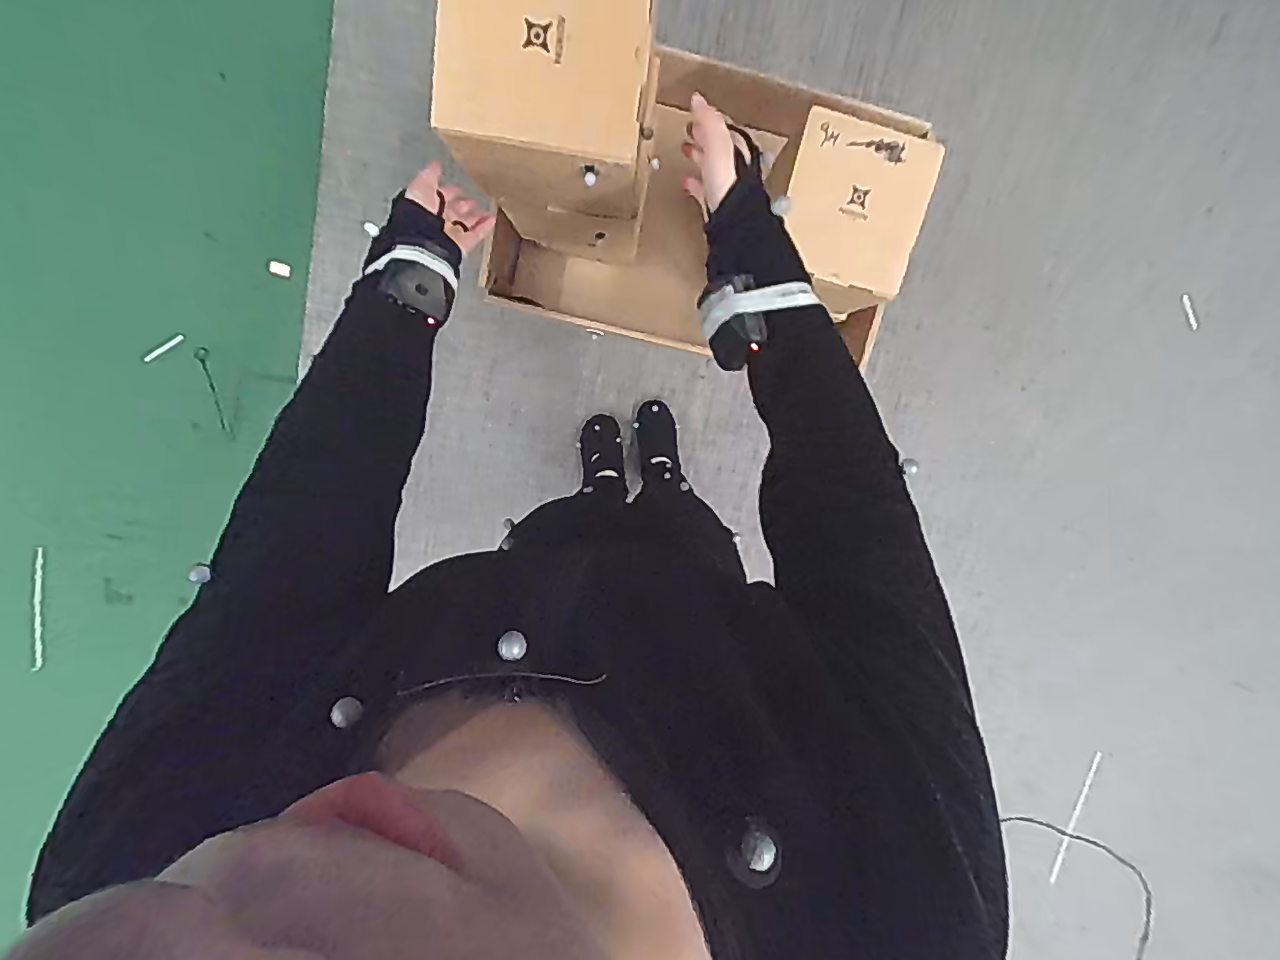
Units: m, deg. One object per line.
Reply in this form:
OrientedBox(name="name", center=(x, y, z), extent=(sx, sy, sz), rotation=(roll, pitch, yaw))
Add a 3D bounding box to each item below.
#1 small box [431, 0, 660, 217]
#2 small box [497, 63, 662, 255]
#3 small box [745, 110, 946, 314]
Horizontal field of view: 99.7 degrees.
OrientedBox(name="small box", center=(-0.080, -0.372, 0.521), extent=(0.179, 0.176, 0.168), rotation=(7, 100, -4))
OrientedBox(name="small box", center=(-0.071, -0.400, 0.682), extent=(0.168, 0.176, 0.179), rotation=(9, 100, -3))
OrientedBox(name="small box", center=(0.247, -0.327, 0.701), extent=(0.168, 0.176, 0.179), rotation=(15, 100, -5))
